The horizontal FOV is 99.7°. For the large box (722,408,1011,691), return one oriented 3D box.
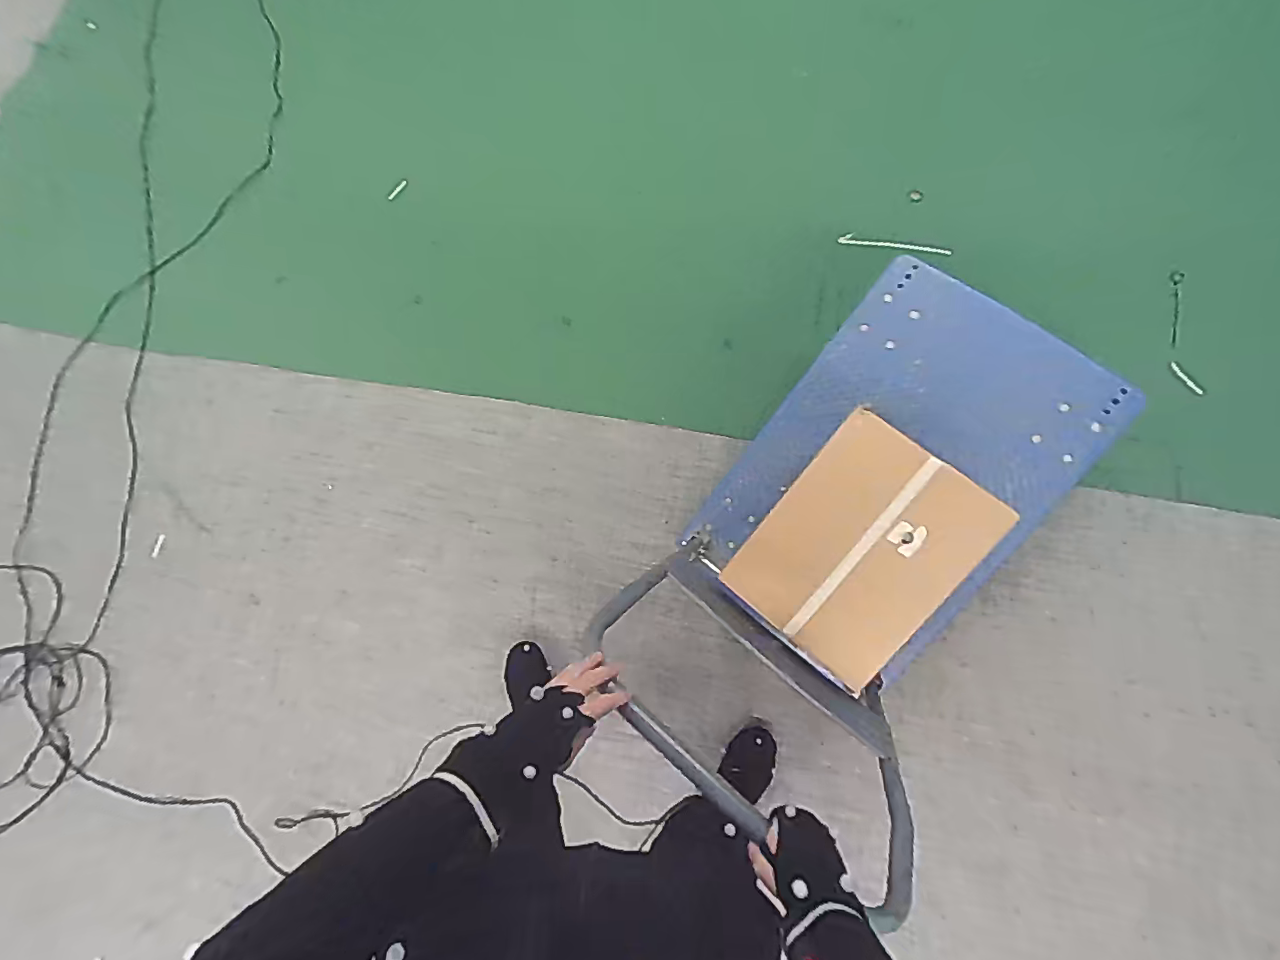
[{"bbox_3d":[0.421,0.127,1.088,0.320,0.320,0.408,39,99,13],"label":"large box"}]
